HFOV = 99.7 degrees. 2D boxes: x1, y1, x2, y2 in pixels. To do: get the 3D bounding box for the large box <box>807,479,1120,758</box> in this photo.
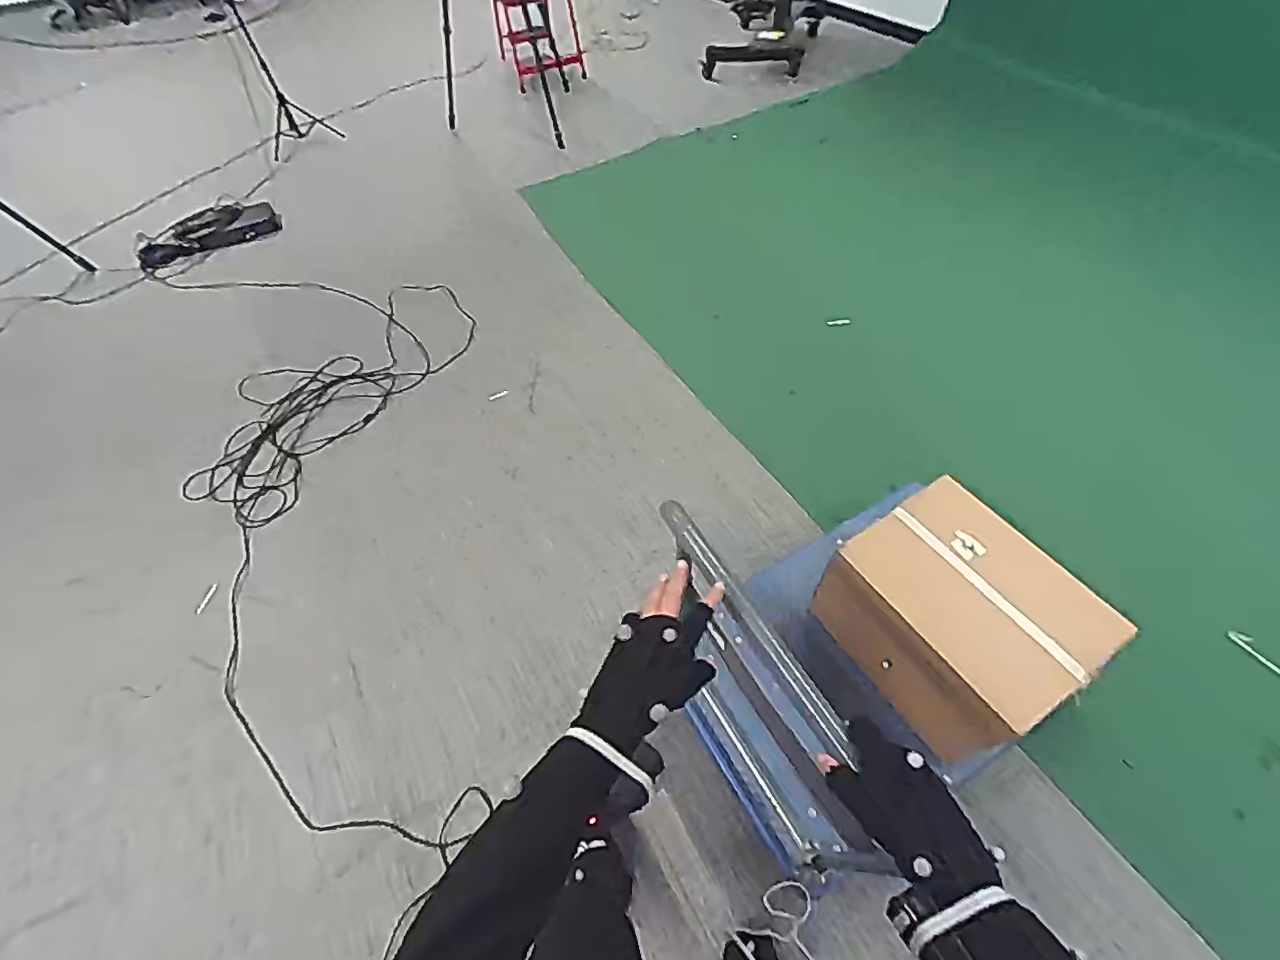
[{"bbox_3d":[0.620,0.284,1.125,0.320,0.320,0.408,-29,57,-16],"label":"large box"}]
